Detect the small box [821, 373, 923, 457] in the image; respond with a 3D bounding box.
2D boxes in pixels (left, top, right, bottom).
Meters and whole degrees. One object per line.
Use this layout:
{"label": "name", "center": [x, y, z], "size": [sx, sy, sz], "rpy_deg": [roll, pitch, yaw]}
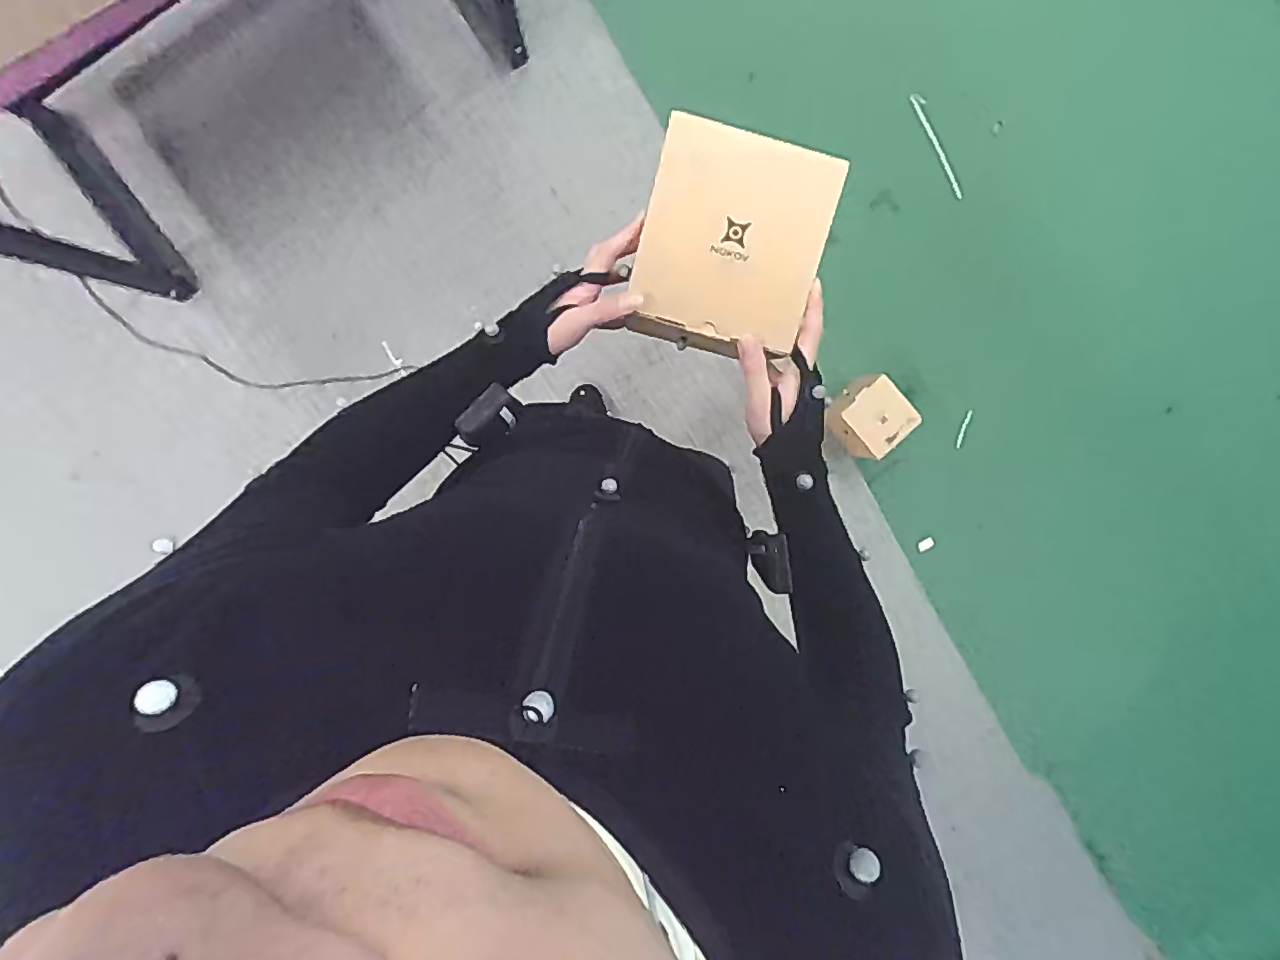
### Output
{"label": "small box", "center": [0.654, -0.183, 1.552], "size": [0.168, 0.176, 0.179], "rpy_deg": [-43, 97, 3]}
